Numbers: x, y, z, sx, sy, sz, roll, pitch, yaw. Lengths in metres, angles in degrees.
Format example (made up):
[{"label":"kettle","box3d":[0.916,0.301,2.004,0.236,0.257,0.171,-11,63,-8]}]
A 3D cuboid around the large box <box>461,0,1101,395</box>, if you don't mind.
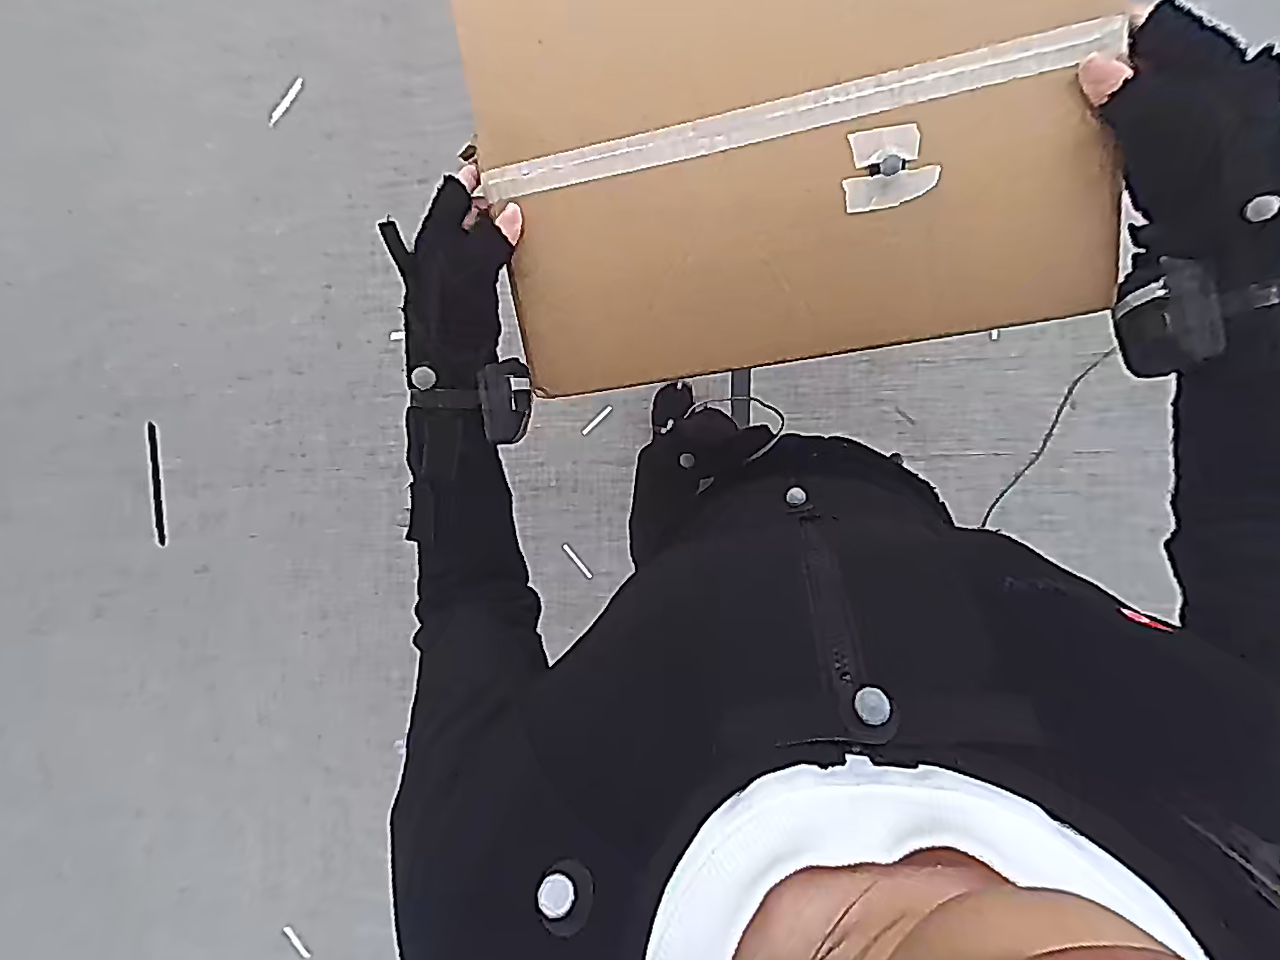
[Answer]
[{"label":"large box","box3d":[0.109,-0.280,0.512,0.408,0.320,0.320,-8,104,9]}]
